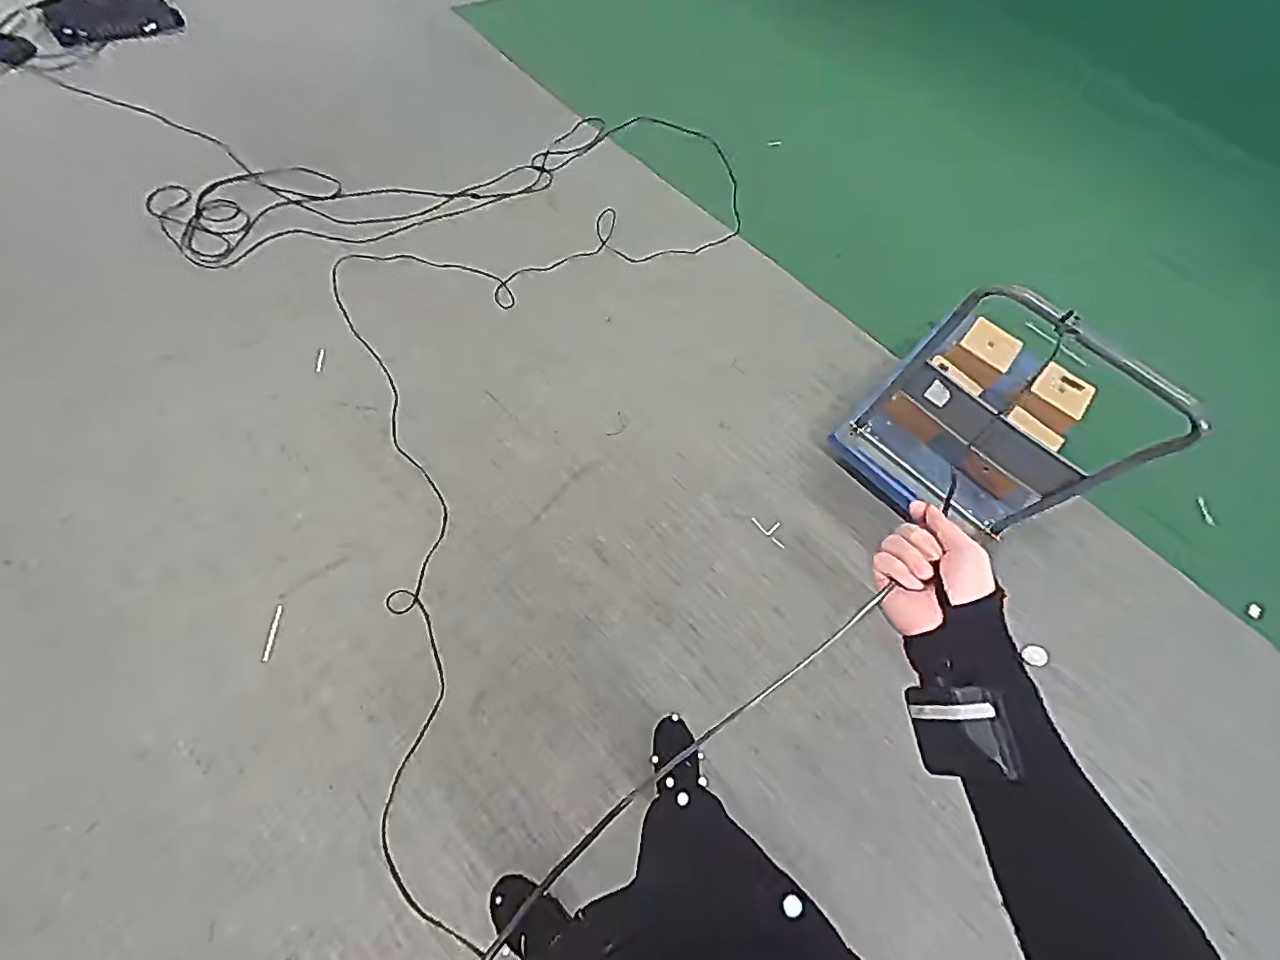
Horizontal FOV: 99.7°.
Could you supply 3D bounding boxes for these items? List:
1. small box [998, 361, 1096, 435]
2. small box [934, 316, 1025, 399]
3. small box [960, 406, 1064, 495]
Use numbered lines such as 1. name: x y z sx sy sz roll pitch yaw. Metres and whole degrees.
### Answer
1. small box: 1.318 -0.247 1.762 0.168 0.176 0.179 40 66 13
2. small box: 1.130 -0.405 1.815 0.168 0.176 0.179 41 65 12
3. small box: 1.128 -0.087 1.655 0.179 0.176 0.168 -39 75 -22
